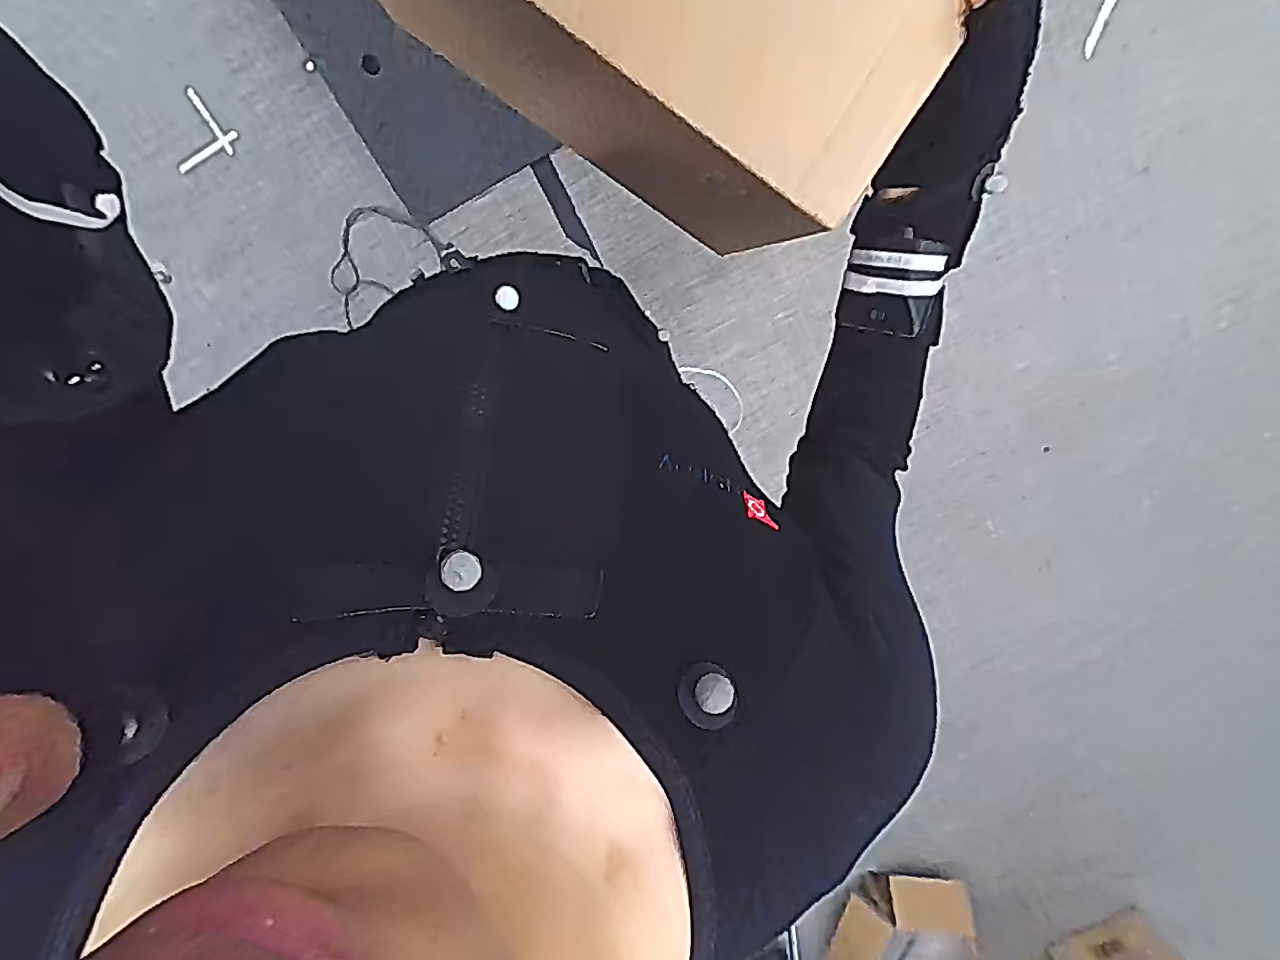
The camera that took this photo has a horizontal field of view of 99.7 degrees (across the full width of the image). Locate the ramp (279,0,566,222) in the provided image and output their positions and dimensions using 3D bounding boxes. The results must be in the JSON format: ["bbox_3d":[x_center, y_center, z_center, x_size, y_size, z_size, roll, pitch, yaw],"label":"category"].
[{"bbox_3d":[-0.519,-1.100,1.032,0.509,0.206,0.991,-30,107,4],"label":"ramp"}]

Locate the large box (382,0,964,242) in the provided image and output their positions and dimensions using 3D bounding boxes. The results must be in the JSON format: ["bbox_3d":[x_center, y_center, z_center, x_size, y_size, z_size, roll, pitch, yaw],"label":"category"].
[{"bbox_3d":[0.017,-0.438,0.408,0.408,0.320,0.320,28,106,-14],"label":"large box"}]
